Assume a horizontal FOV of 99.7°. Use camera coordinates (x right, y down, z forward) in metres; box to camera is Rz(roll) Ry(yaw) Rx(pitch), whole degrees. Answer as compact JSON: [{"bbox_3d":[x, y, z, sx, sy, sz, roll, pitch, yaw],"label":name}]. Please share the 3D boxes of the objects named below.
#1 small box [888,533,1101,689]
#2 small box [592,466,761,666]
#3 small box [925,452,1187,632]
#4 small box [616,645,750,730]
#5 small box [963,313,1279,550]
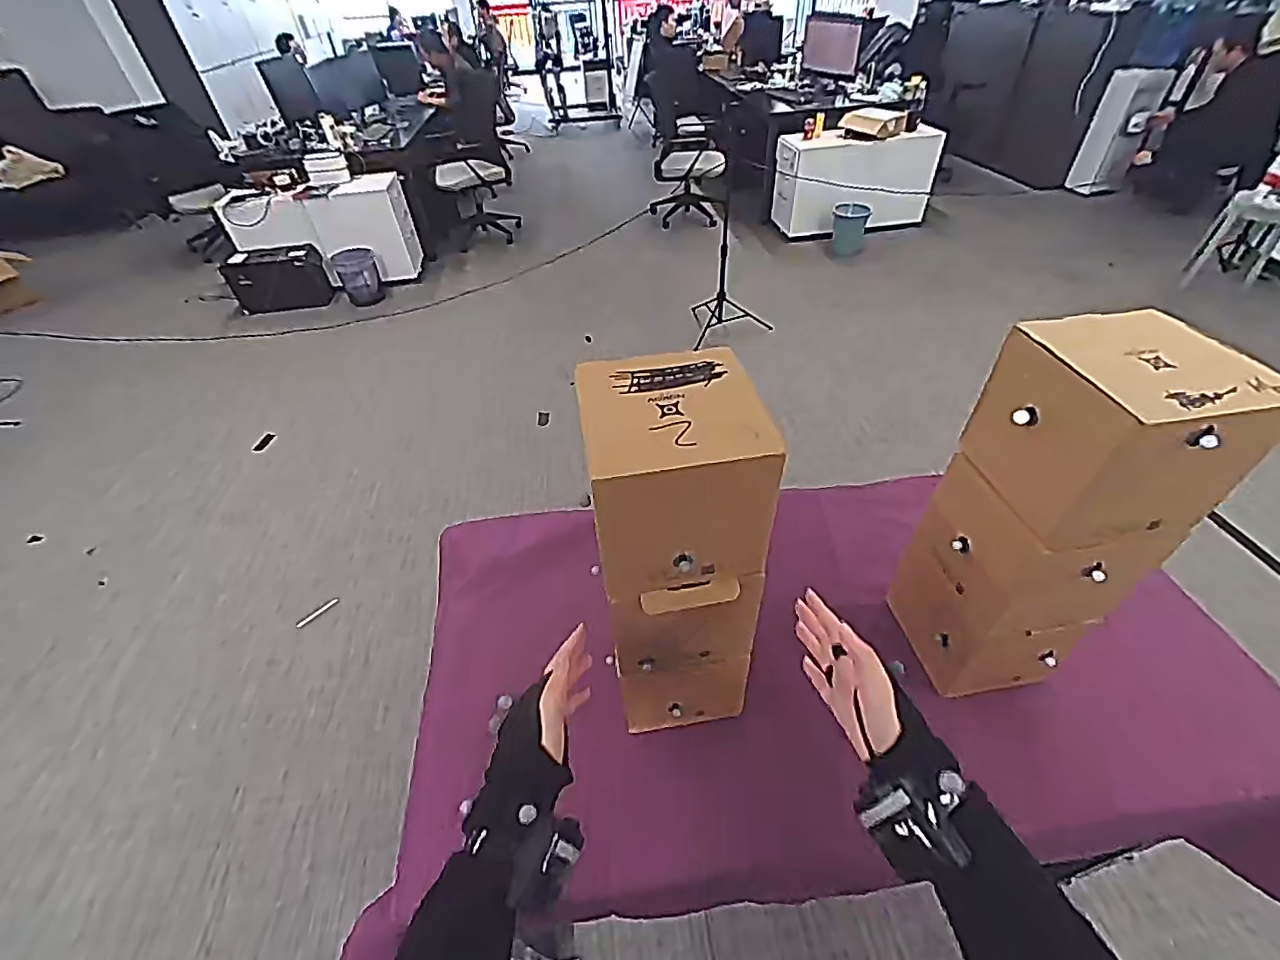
[{"bbox_3d":[0.495,0.187,0.789,0.168,0.176,0.179,-7,43,-4],"label":"small box"},{"bbox_3d":[0.038,0.111,0.667,0.168,0.176,0.179,-9,44,-6],"label":"small box"},{"bbox_3d":[0.486,0.070,0.673,0.179,0.176,0.168,-8,44,-5],"label":"small box"},{"bbox_3d":[0.047,0.230,0.779,0.168,0.176,0.179,-8,44,-4],"label":"small box"},{"bbox_3d":[0.482,-0.053,0.565,0.168,0.176,0.179,-8,43,-4],"label":"small box"}]
